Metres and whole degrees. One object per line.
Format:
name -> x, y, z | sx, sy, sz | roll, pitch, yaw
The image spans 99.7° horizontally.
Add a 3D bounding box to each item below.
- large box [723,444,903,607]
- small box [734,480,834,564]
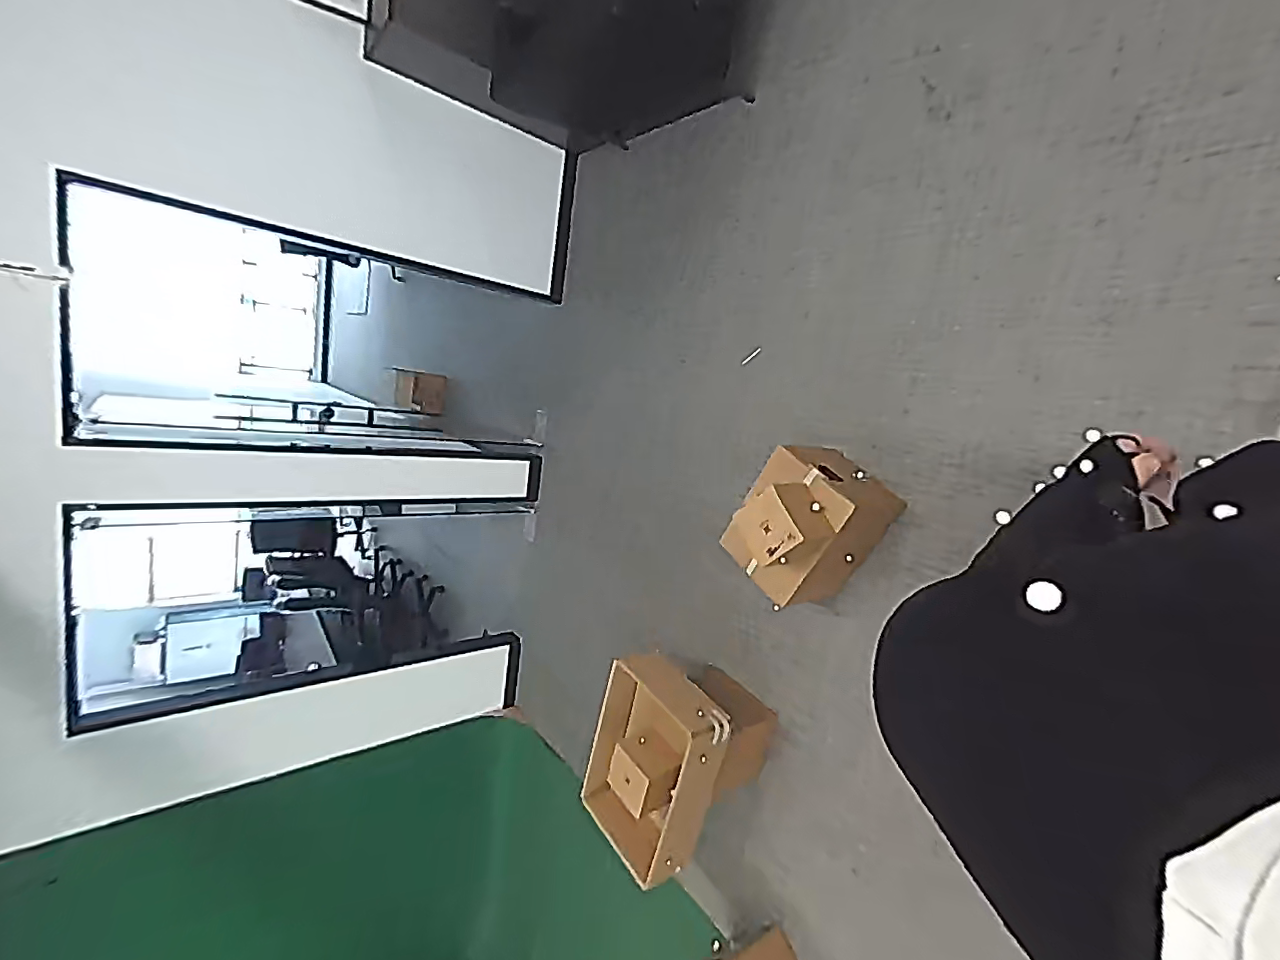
large box -> 0.542, 0.131, 1.723 | 0.320, 0.320, 0.408 | 49, 126, 38
small box -> 0.401, 0.117, 1.509 | 0.168, 0.176, 0.179 | -46, 58, 39
